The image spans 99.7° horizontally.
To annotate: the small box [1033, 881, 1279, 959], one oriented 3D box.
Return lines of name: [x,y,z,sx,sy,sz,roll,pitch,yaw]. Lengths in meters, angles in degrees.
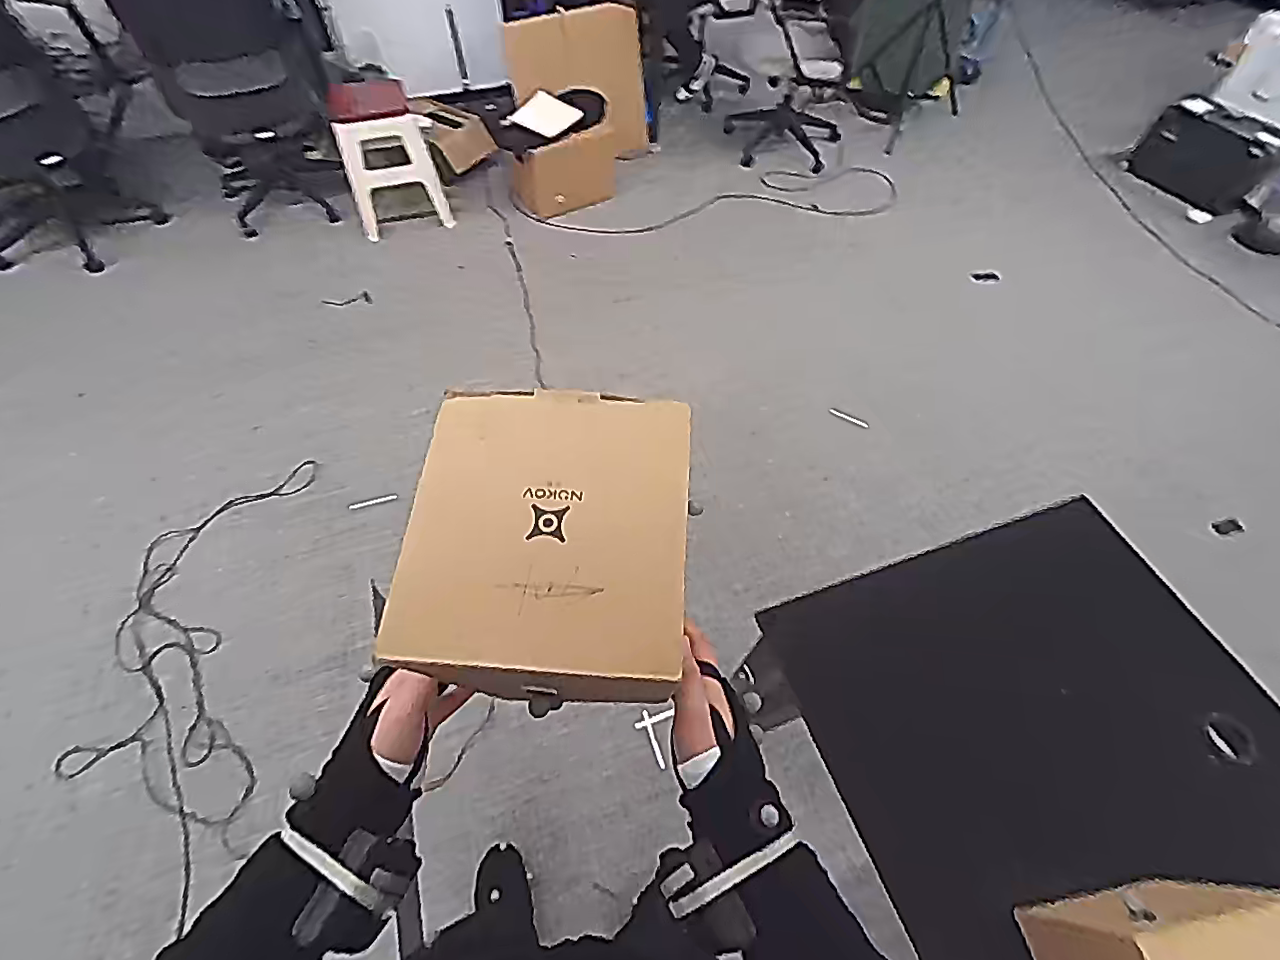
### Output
small box: [0.507,0.482,0.489,0.179,0.176,0.168,-6,57,-7]

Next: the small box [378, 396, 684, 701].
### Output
small box: [-0.057,0.060,0.398,0.168,0.176,0.179,2,65,2]
